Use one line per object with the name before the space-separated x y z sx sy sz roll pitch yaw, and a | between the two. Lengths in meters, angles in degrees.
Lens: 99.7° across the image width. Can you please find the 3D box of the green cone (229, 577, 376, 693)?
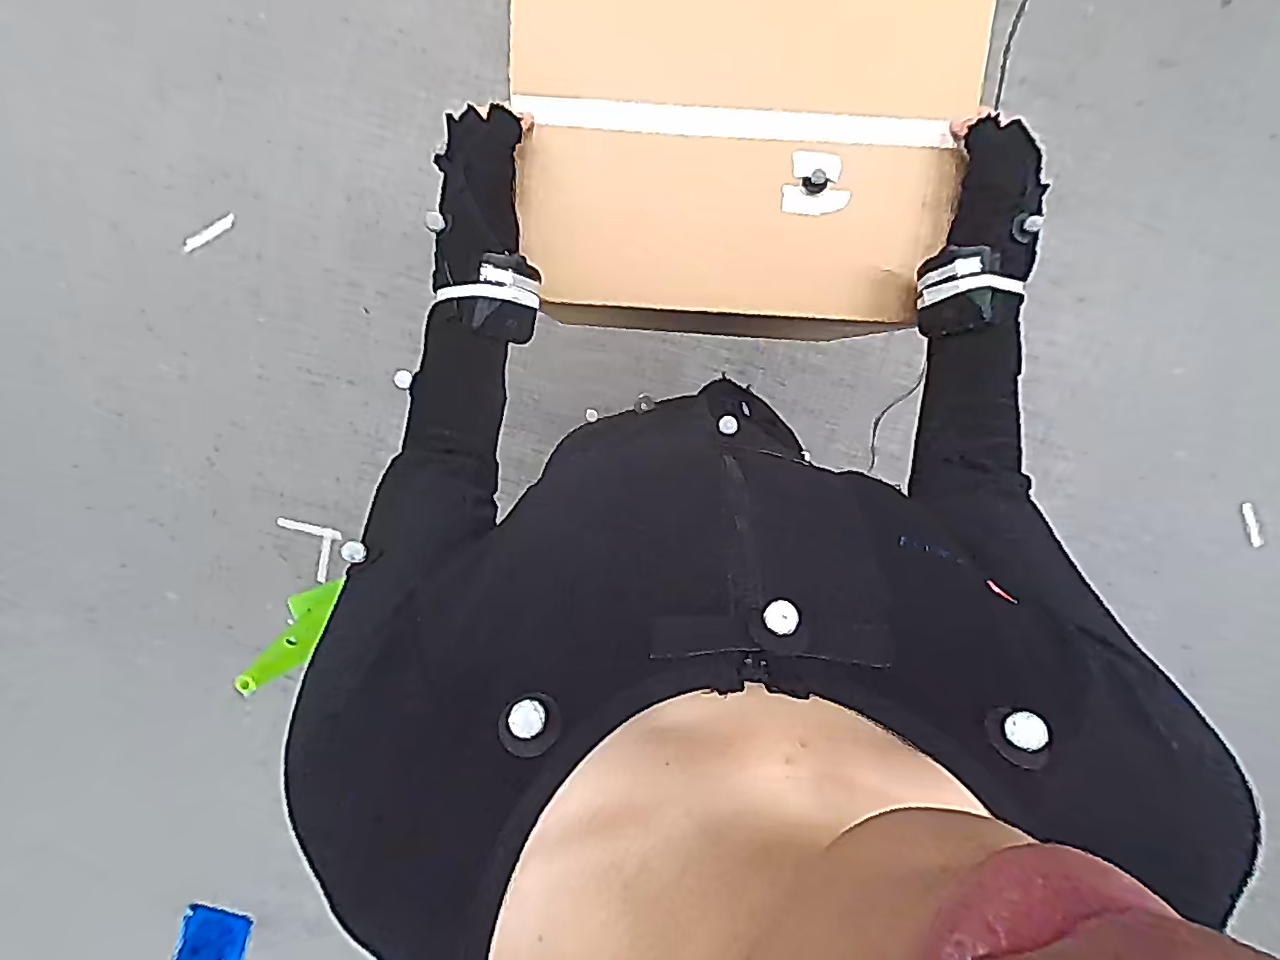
green cone | -0.866 0.411 1.347 0.202 0.368 0.200 -21 98 4

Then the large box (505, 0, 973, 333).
large box | 0.078 -0.343 0.621 0.408 0.320 0.320 2 102 -1

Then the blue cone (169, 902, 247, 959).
blue cone | -1.325 1.432 1.515 0.192 0.380 0.193 19 98 -2
